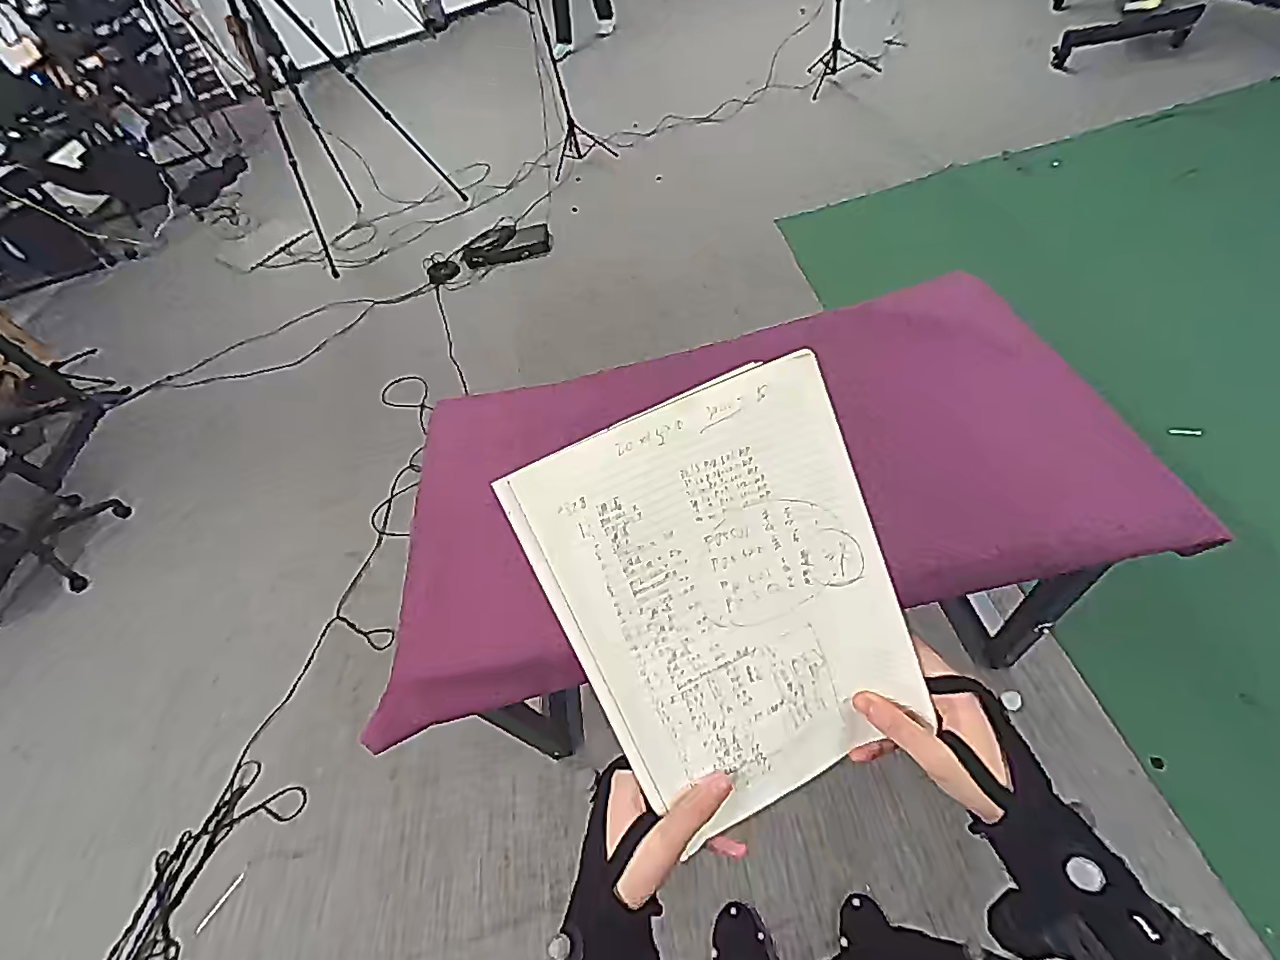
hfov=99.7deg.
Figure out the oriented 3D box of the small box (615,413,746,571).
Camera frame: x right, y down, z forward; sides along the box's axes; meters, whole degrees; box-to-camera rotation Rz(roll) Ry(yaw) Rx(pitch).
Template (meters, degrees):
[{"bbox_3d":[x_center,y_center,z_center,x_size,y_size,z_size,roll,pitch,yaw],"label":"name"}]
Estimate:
[{"bbox_3d":[0.066,0.028,0.856,0.168,0.176,0.179,-14,52,4],"label":"small box"}]
